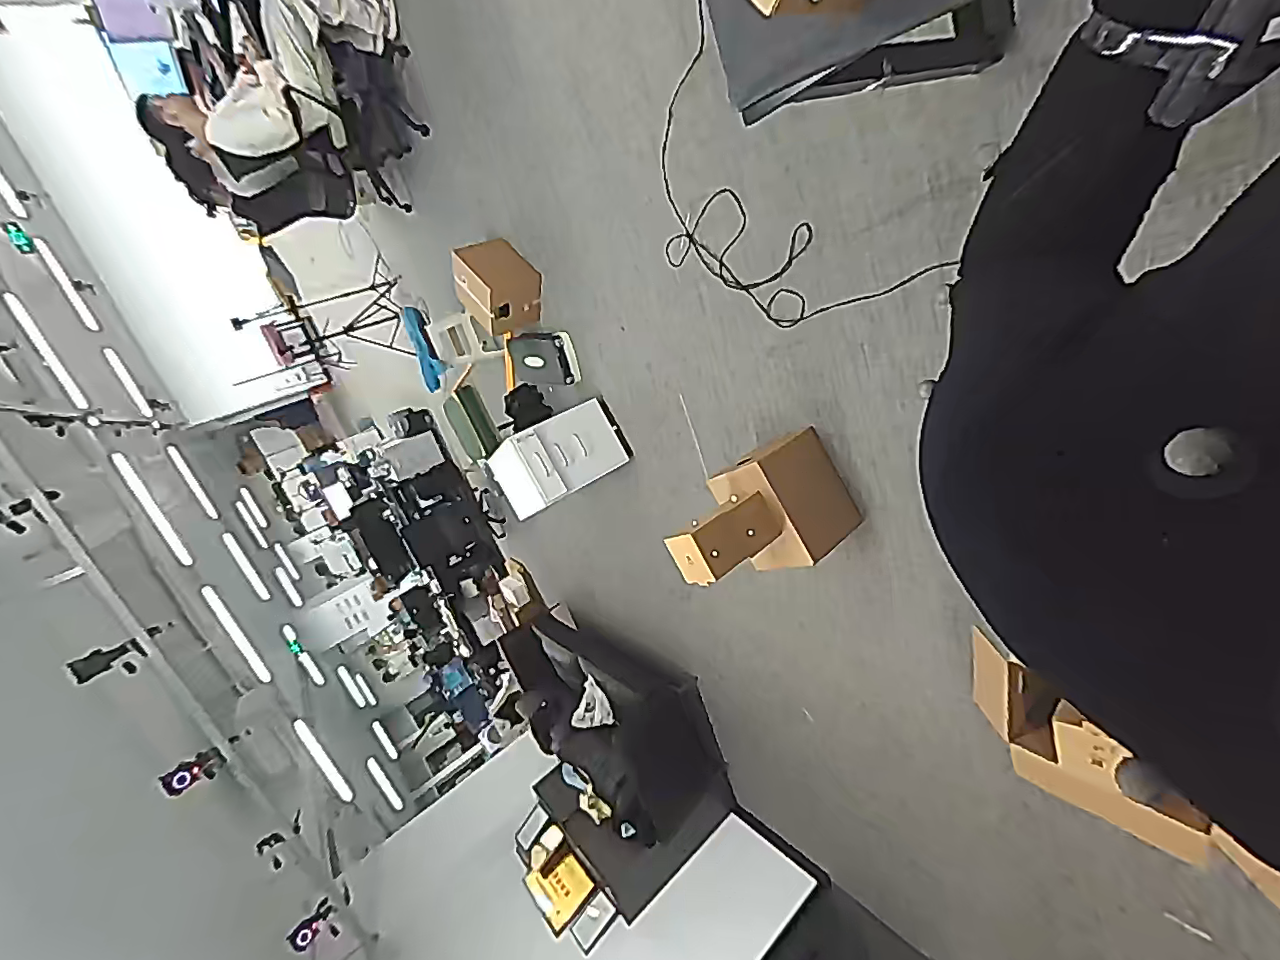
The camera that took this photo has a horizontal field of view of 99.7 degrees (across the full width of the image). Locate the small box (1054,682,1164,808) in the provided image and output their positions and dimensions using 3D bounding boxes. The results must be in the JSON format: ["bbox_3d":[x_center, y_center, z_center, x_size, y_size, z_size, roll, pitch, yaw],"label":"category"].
[{"bbox_3d":[1.137,0.630,1.307,0.168,0.176,0.179,4,119,53],"label":"small box"}]

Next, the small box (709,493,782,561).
[{"bbox_3d":[0.360,0.169,1.879,0.179,0.176,0.168,62,150,-2],"label":"small box"}]

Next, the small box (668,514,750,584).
[{"bbox_3d":[0.231,0.226,1.797,0.179,0.176,0.168,62,149,-3],"label":"small box"}]
